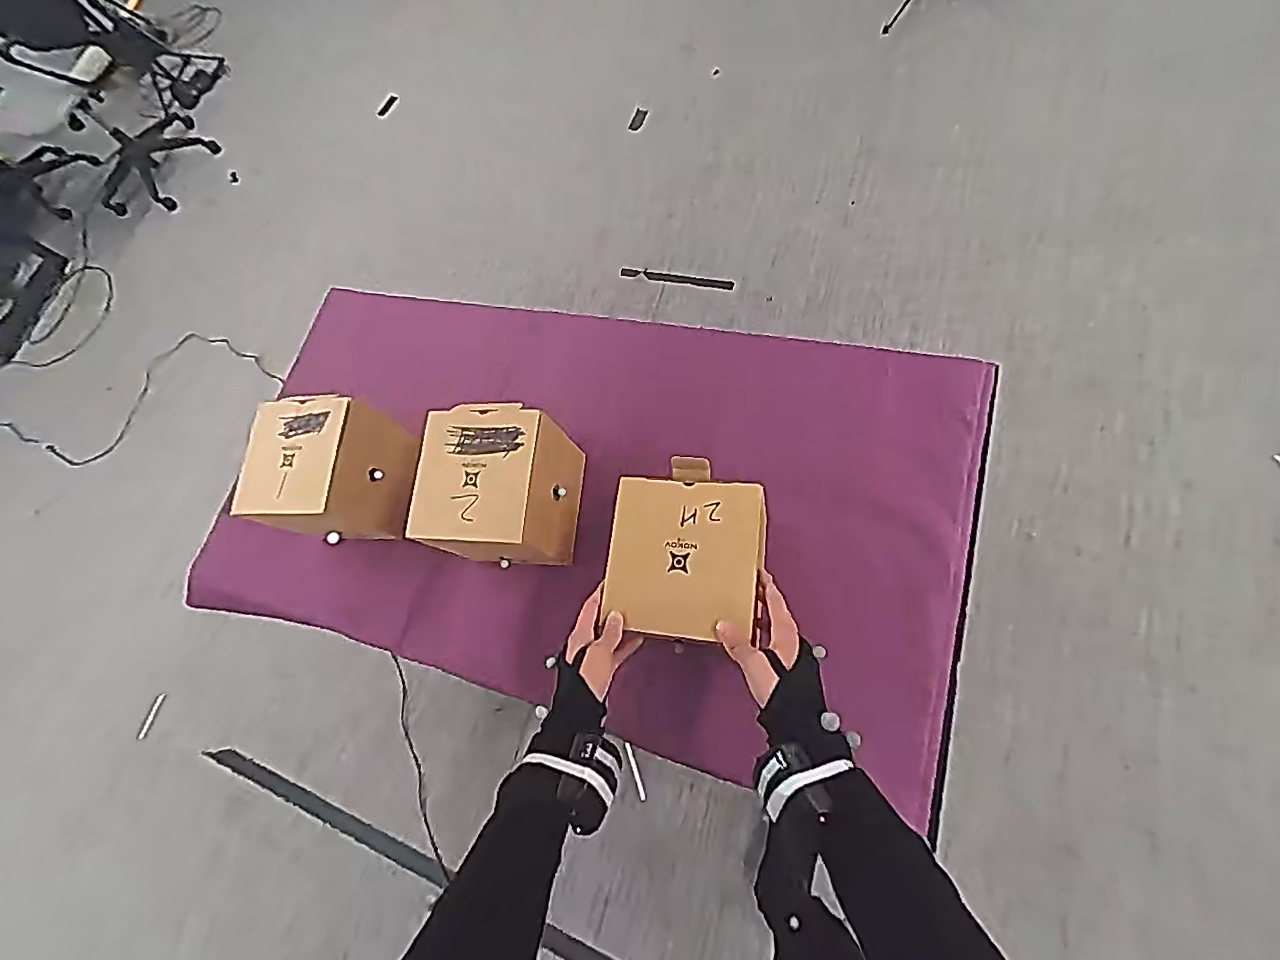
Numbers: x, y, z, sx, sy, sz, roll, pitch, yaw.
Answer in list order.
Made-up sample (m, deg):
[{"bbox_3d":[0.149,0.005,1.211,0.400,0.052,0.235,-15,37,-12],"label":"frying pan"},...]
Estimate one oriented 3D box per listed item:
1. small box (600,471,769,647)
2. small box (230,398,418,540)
[{"bbox_3d":[0.065,0.102,0.655,0.168,0.176,0.179,4,73,15],"label":"small box"},{"bbox_3d":[-0.474,-0.010,0.840,0.168,0.176,0.179,-1,72,15],"label":"small box"}]
